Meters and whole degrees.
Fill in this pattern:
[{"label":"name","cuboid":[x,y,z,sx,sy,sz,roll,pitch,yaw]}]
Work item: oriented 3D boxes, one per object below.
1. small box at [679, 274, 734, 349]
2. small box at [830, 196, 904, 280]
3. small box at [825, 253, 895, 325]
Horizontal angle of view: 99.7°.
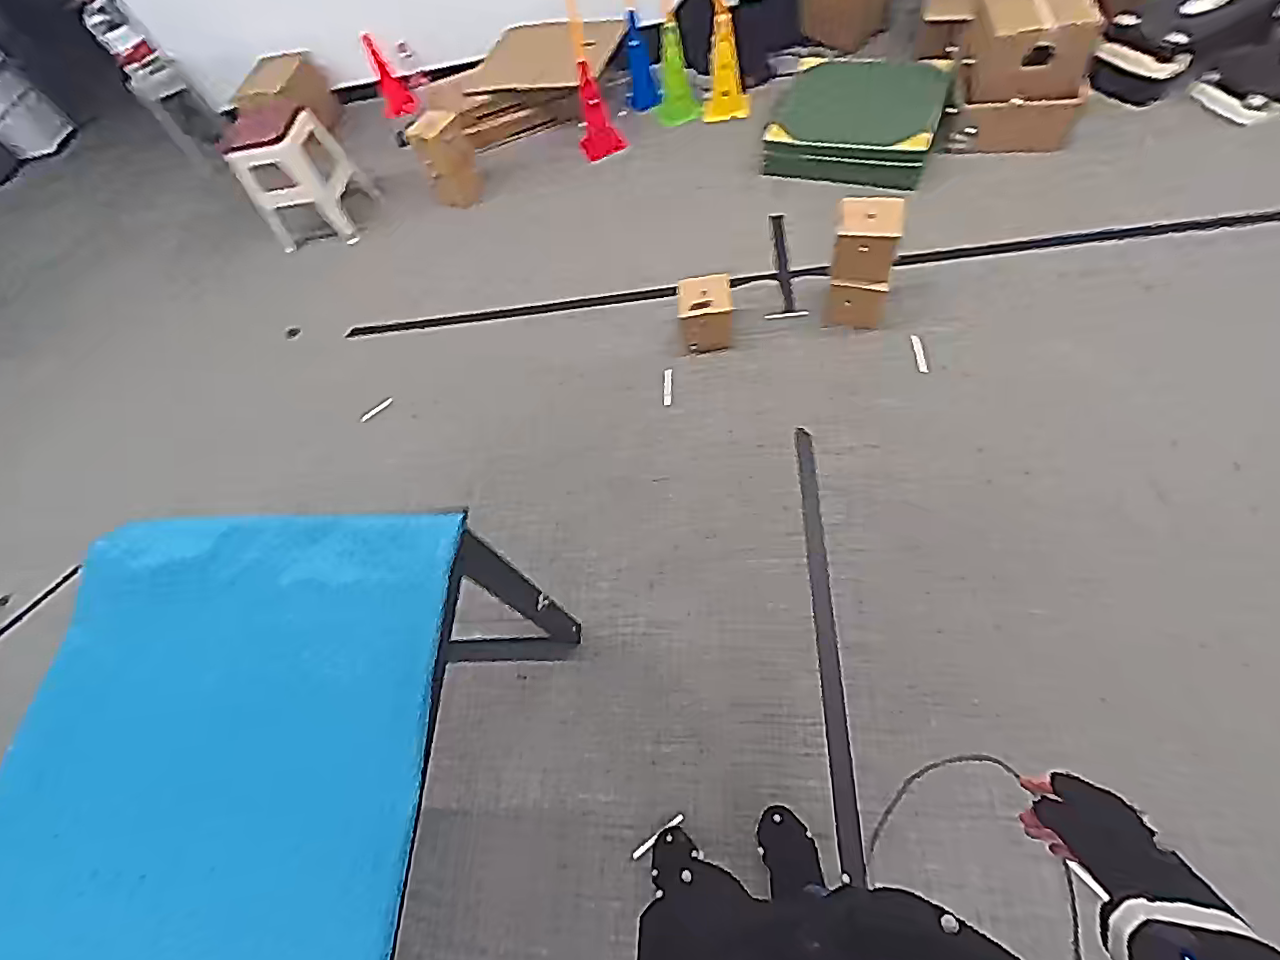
[{"label":"small box","cuboid":[0.228,-0.562,1.831,0.168,0.176,0.179,-5,60,9]},{"label":"small box","cuboid":[0.681,-0.729,1.636,0.179,0.176,0.168,9,65,15]},{"label":"small box","cuboid":[0.713,-0.628,1.765,0.179,0.176,0.168,11,64,16]}]
